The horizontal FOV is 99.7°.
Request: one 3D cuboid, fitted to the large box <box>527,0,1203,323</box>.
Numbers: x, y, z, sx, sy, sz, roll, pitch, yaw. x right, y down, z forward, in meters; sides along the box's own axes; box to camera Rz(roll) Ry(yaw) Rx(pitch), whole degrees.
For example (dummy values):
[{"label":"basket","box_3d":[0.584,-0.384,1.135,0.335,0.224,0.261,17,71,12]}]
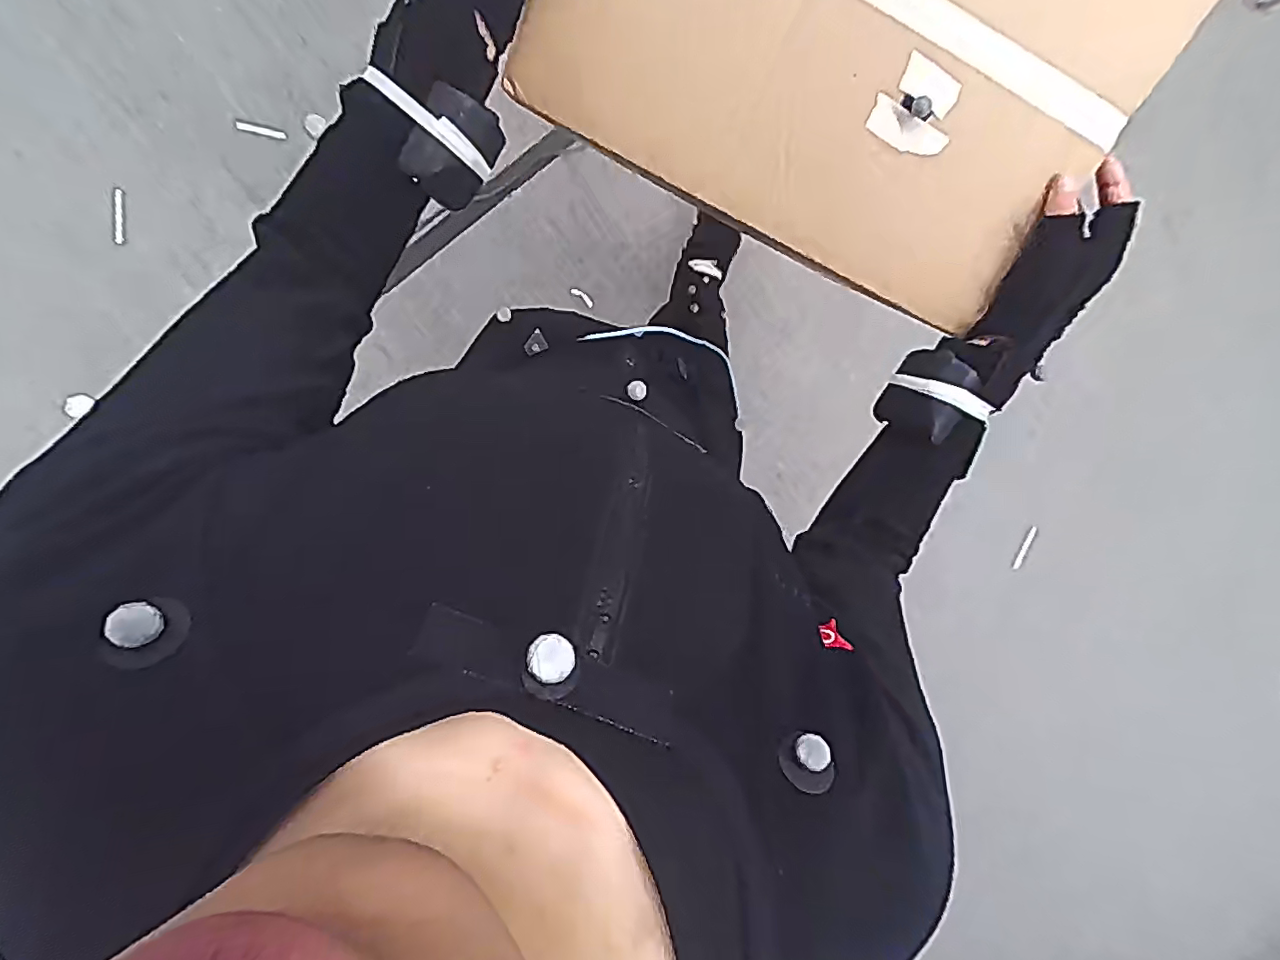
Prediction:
[{"label":"large box","box_3d":[0.160,-0.396,0.492,0.408,0.320,0.320,24,117,-10]}]
